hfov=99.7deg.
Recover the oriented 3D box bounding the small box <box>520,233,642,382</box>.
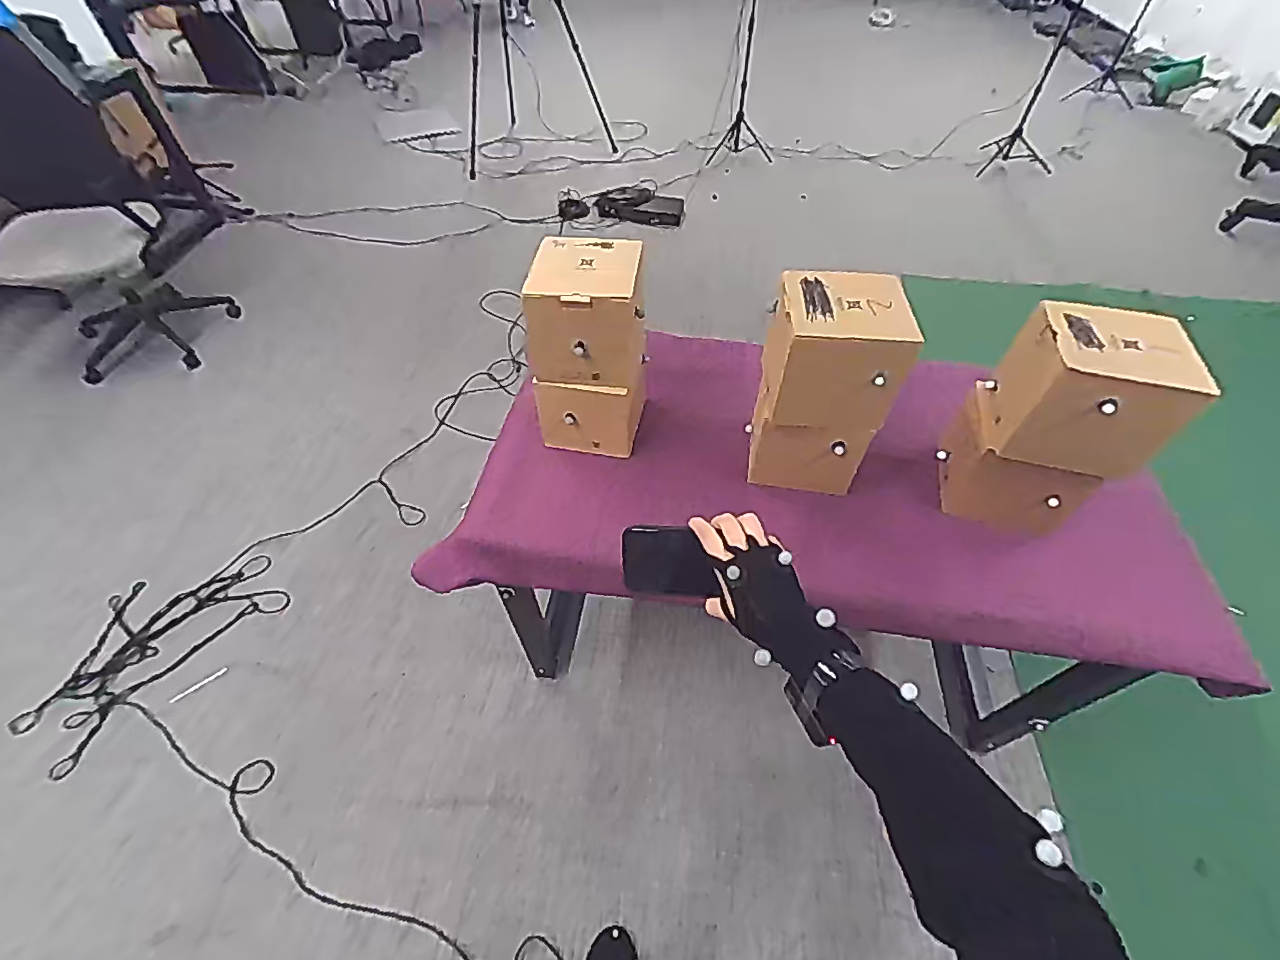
[{"bbox_3d":[-0.086,-0.282,0.896,0.168,0.176,0.179,6,52,3],"label":"small box"}]

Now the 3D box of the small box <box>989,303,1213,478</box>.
[{"bbox_3d":[0.629,-0.125,0.773,0.179,0.176,0.168,14,52,10],"label":"small box"}]

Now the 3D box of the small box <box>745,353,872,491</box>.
[{"bbox_3d":[0.292,-0.099,0.959,0.179,0.176,0.168,9,52,7],"label":"small box"}]

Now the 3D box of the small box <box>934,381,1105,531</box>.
[{"bbox_3d":[0.623,-0.036,0.911,0.179,0.176,0.168,14,52,11],"label":"small box"}]

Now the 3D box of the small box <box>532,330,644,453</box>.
[{"bbox_3d":[-0.087,-0.173,1.019,0.168,0.176,0.179,9,52,7],"label":"small box"}]
